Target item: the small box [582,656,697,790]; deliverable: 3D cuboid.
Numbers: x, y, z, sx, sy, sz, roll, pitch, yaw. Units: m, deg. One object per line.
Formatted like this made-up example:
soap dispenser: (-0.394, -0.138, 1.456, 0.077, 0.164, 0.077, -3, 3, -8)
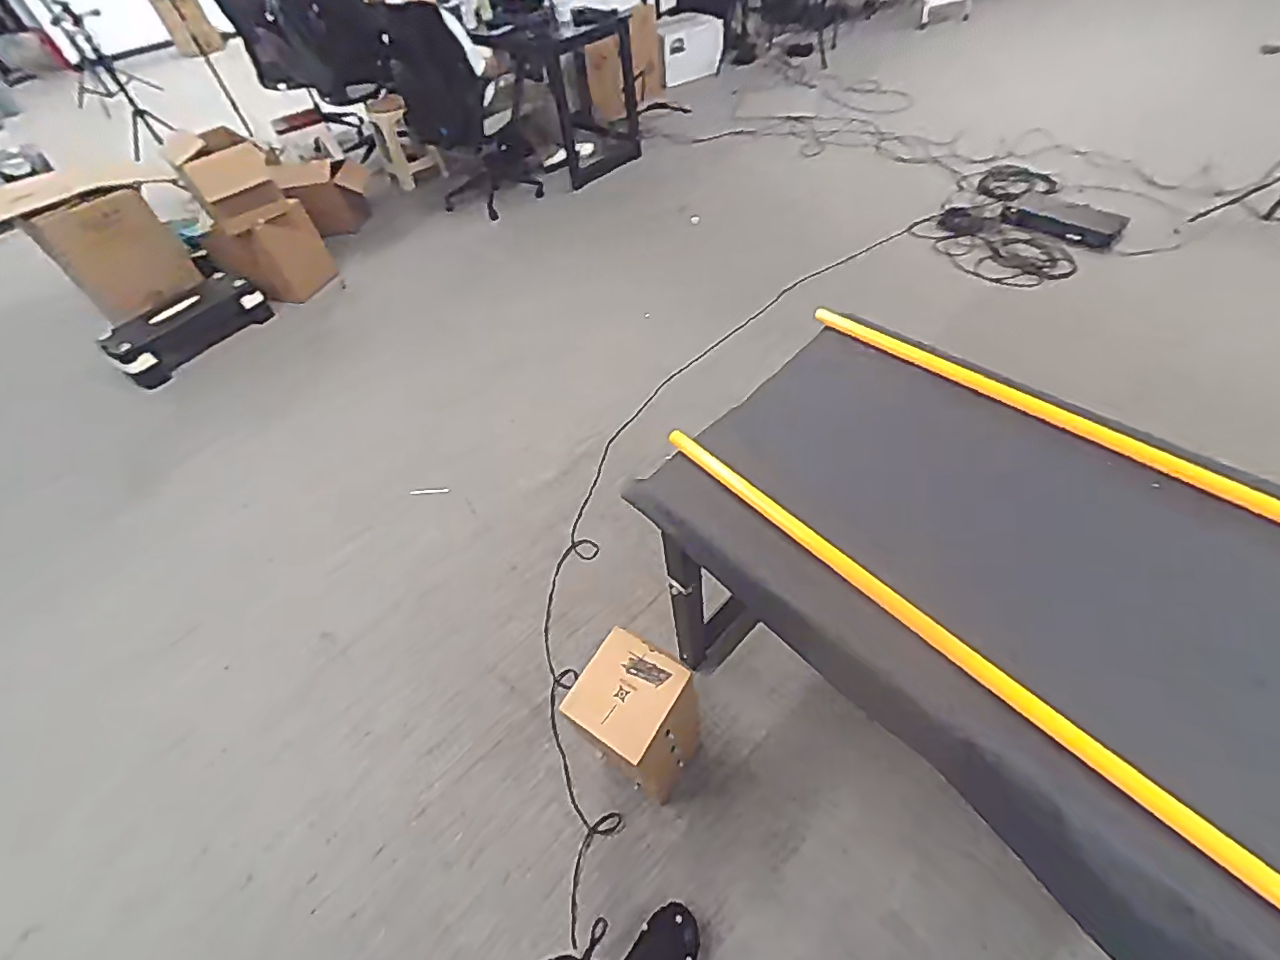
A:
small box: (0.010, 0.505, 1.118, 0.168, 0.176, 0.179, 20, 56, 25)
